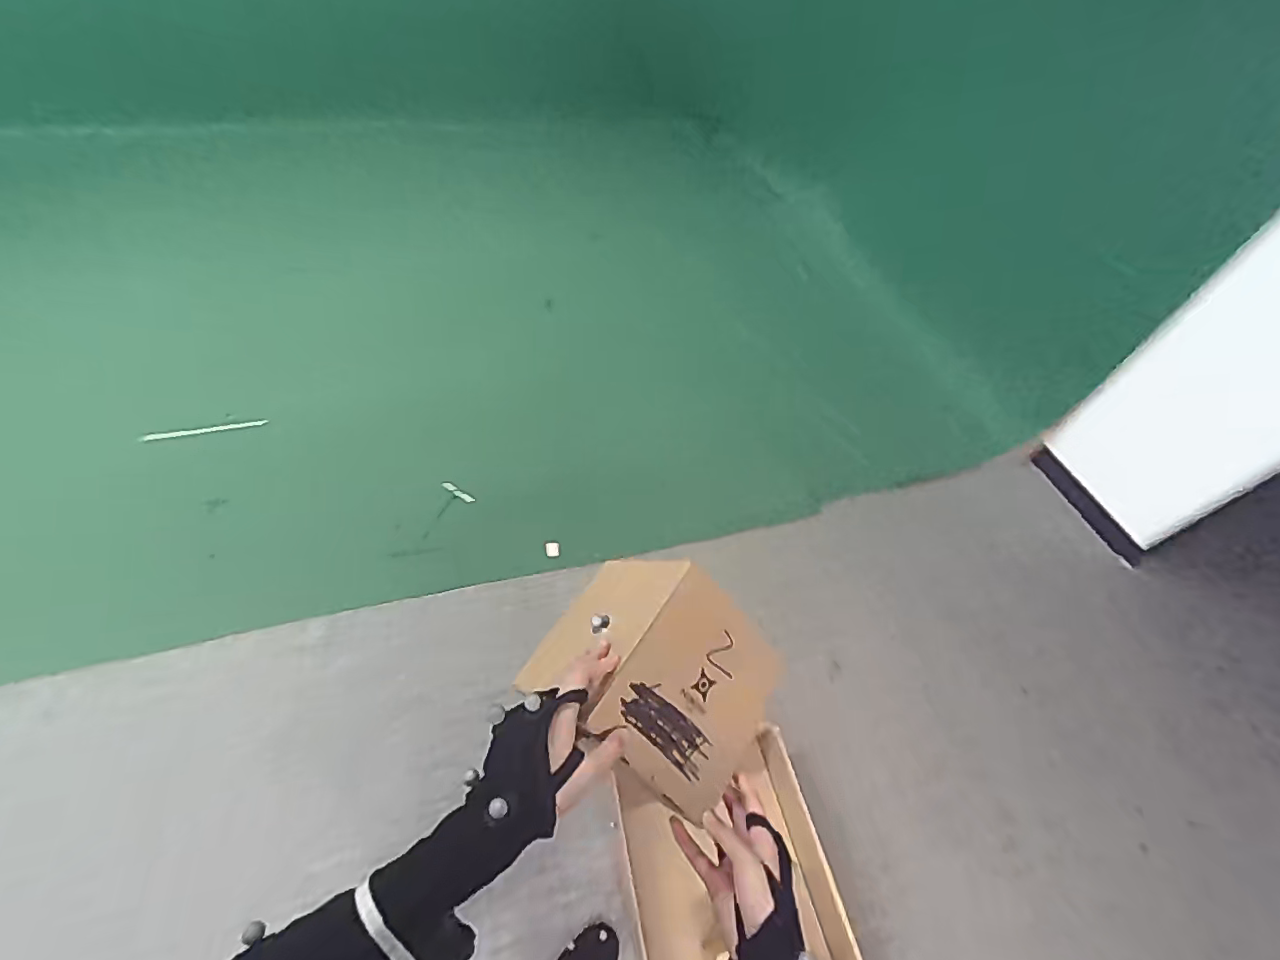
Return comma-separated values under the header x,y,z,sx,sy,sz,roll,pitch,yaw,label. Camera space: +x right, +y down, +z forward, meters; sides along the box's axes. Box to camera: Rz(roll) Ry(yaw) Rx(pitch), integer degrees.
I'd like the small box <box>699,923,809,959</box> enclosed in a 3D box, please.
x,y,z,sx,sy,sz,roll,pitch,yaw,label
0.223,0.949,1.003,0.179,0.176,0.168,-8,53,-11,small box
